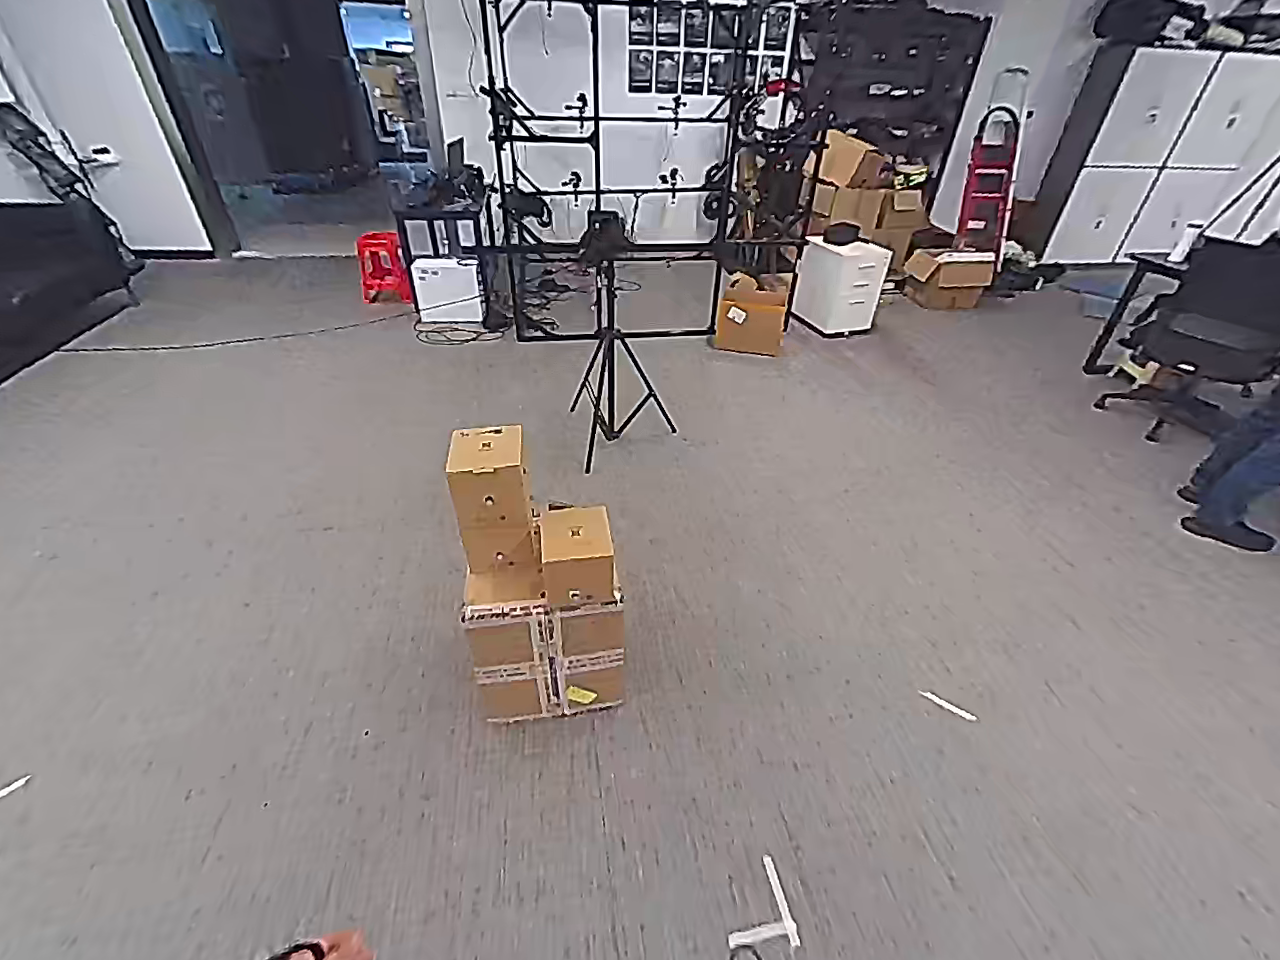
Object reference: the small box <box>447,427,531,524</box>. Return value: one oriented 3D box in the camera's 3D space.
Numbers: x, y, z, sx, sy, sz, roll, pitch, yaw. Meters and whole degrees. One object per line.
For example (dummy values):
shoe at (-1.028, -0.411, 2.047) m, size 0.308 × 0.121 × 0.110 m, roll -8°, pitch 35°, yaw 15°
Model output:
small box at (-0.357, -0.006, 1.312) m, size 0.168 × 0.176 × 0.179 m, roll -6°, pitch 40°, yaw -7°

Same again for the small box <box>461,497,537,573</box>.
small box at (-0.364, 0.118, 1.421) m, size 0.168 × 0.176 × 0.179 m, roll -7°, pitch 39°, yaw -8°
